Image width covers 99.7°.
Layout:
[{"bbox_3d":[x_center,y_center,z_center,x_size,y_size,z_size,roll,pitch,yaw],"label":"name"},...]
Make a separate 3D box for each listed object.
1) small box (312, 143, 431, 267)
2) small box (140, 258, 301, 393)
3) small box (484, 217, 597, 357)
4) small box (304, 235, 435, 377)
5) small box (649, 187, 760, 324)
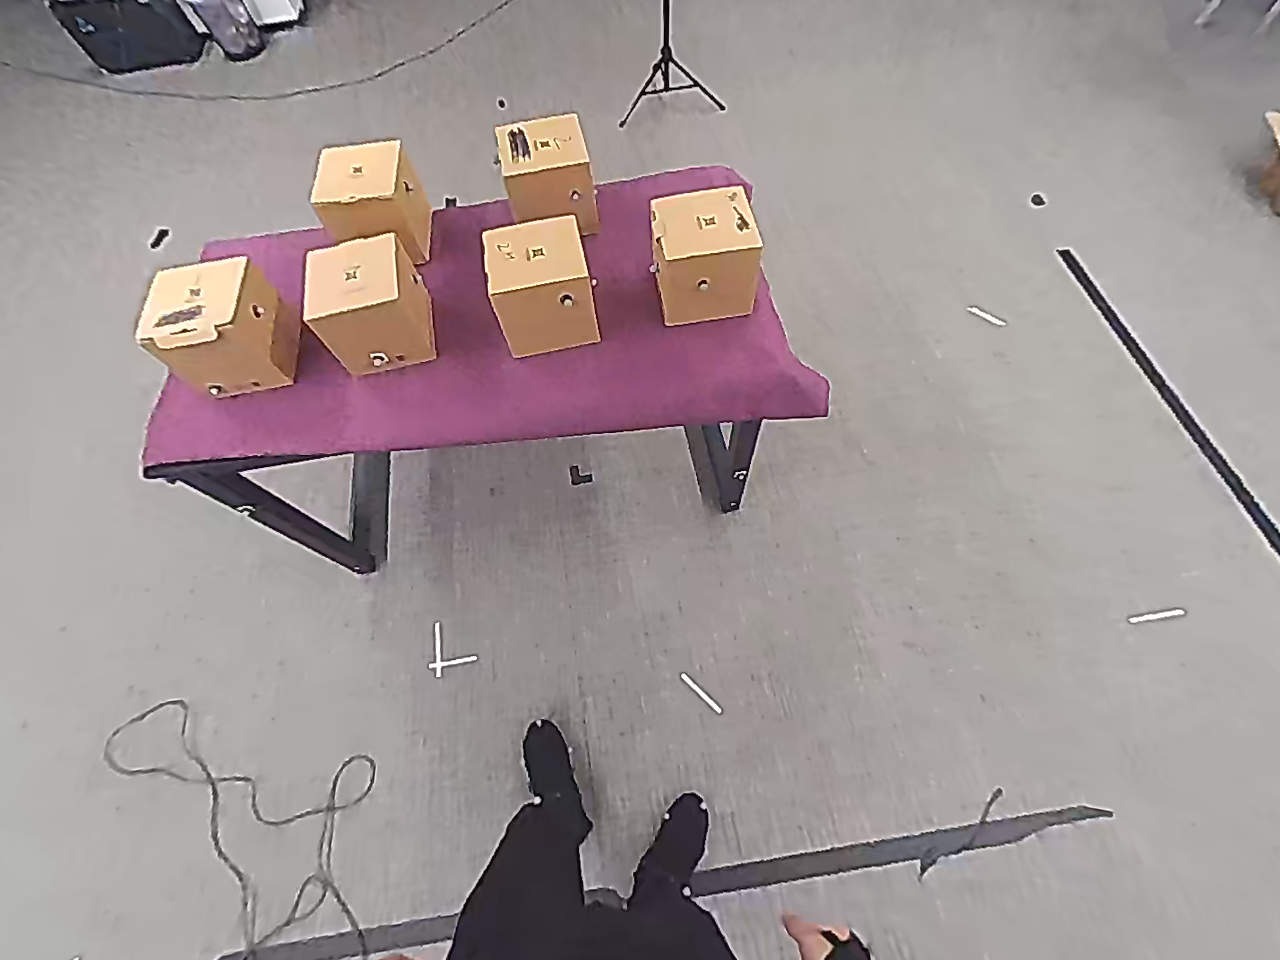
[{"bbox_3d":[-0.559,-0.577,1.152,0.168,0.176,0.179,-7,64,-1],"label":"small box"},{"bbox_3d":[-0.777,-0.282,1.024,0.168,0.176,0.179,-11,62,-2],"label":"small box"},{"bbox_3d":[-0.182,-0.359,1.026,0.179,0.176,0.168,-12,63,-2],"label":"small box"},{"bbox_3d":[-0.506,-0.327,1.032,0.168,0.176,0.179,-14,64,-2],"label":"small box"},{"bbox_3d":[0.120,-0.422,1.038,0.179,0.176,0.168,-9,64,1],"label":"small box"}]
